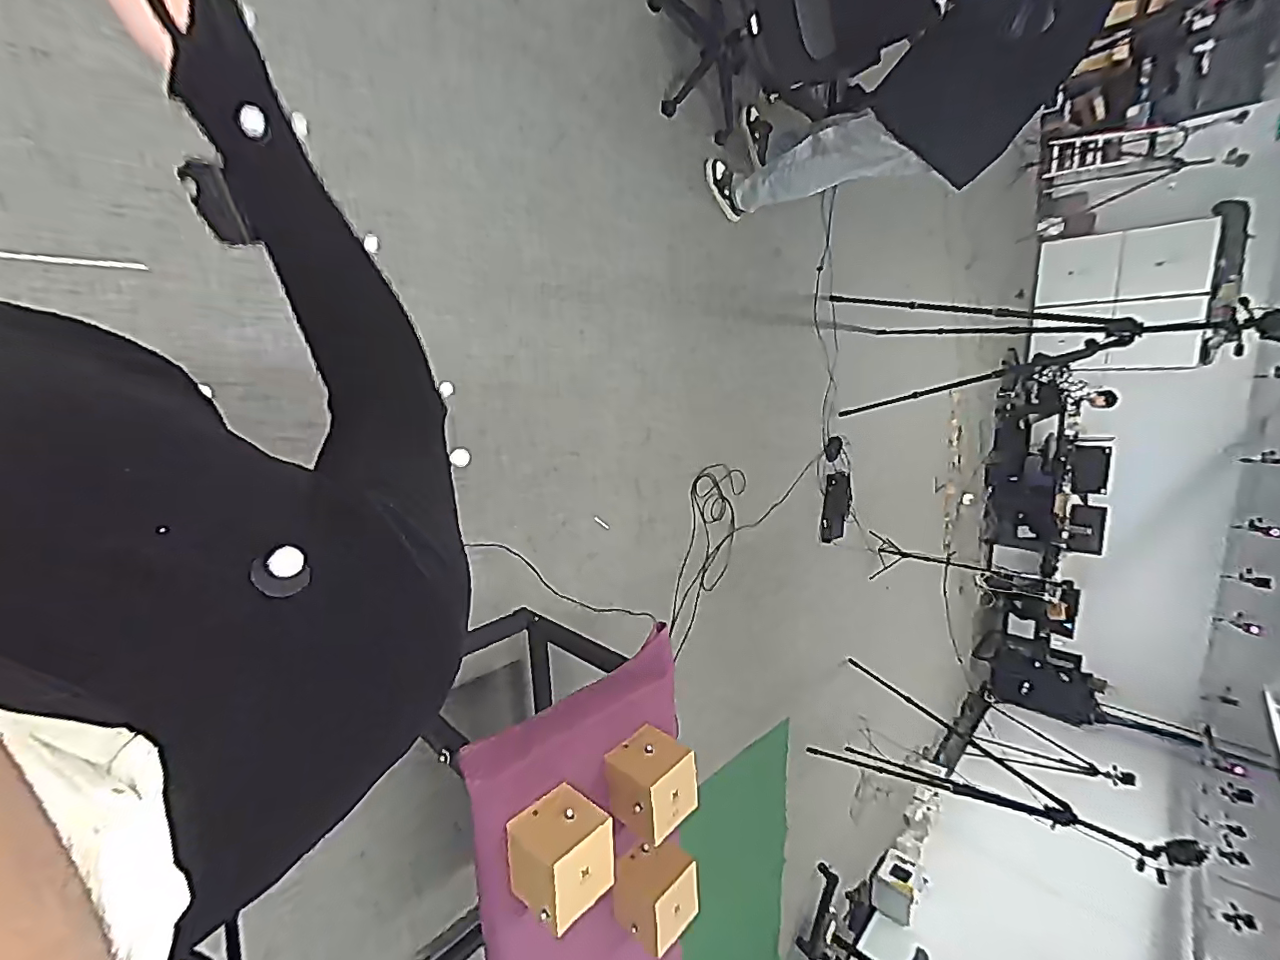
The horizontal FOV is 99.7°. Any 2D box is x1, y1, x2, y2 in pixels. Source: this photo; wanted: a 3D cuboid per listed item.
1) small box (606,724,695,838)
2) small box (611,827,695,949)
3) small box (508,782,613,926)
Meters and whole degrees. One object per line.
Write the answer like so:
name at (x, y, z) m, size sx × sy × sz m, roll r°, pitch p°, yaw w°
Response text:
small box at (0.024, 0.765, 1.405) m, size 0.168 × 0.176 × 0.179 m, roll -17°, pitch 109°, yaw -43°
small box at (0.033, 1.096, 1.474) m, size 0.168 × 0.176 × 0.179 m, roll -15°, pitch 107°, yaw -44°
small box at (-0.178, 0.811, 1.202) m, size 0.168 × 0.176 × 0.179 m, roll -13°, pitch 107°, yaw -46°
